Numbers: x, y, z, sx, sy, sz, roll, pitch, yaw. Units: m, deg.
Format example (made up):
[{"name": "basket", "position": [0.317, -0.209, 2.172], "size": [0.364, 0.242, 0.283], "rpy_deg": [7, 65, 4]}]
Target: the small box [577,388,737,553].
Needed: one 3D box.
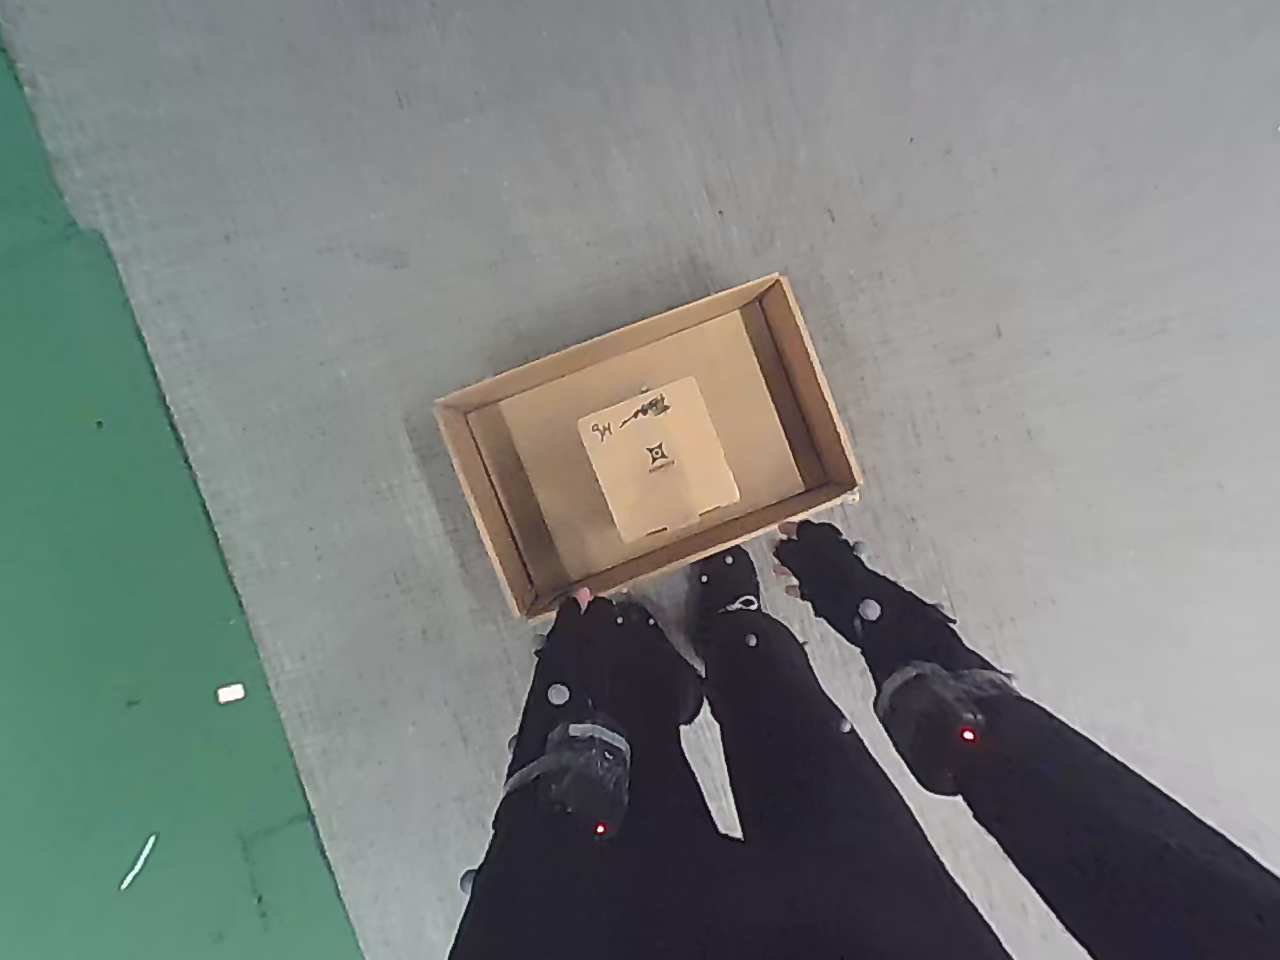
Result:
[{"name": "small box", "position": [0.022, -0.015, 0.778], "size": [0.168, 0.176, 0.179], "rpy_deg": [-21, 92, -1]}]
